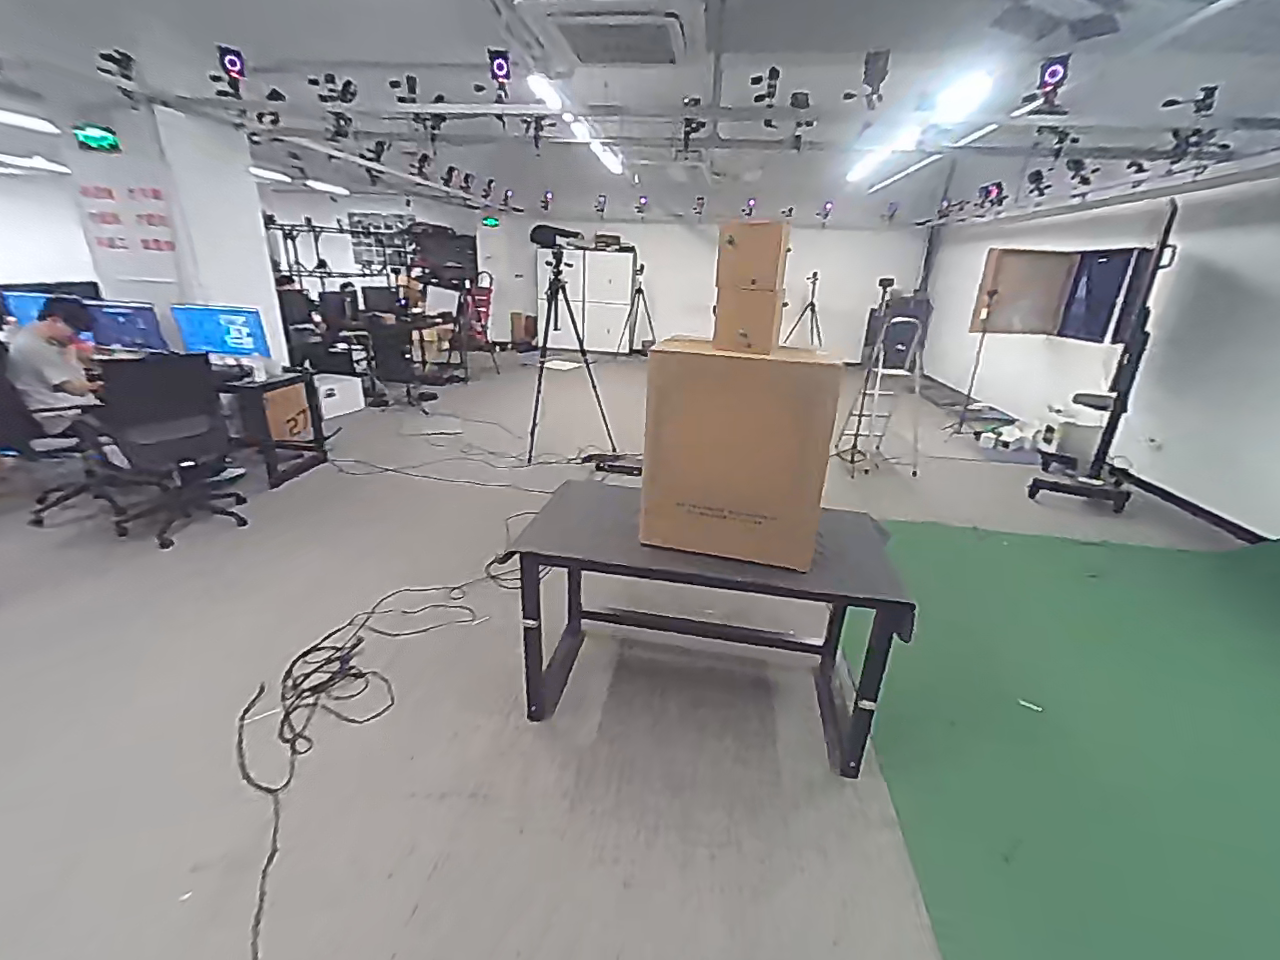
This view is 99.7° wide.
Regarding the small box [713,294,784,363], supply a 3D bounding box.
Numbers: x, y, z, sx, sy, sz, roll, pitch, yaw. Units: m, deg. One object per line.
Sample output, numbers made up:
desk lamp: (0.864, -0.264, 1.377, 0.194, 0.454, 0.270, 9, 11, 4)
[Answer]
small box: (0.312, -0.442, 1.566, 0.168, 0.176, 0.179, 10, 24, 18)
